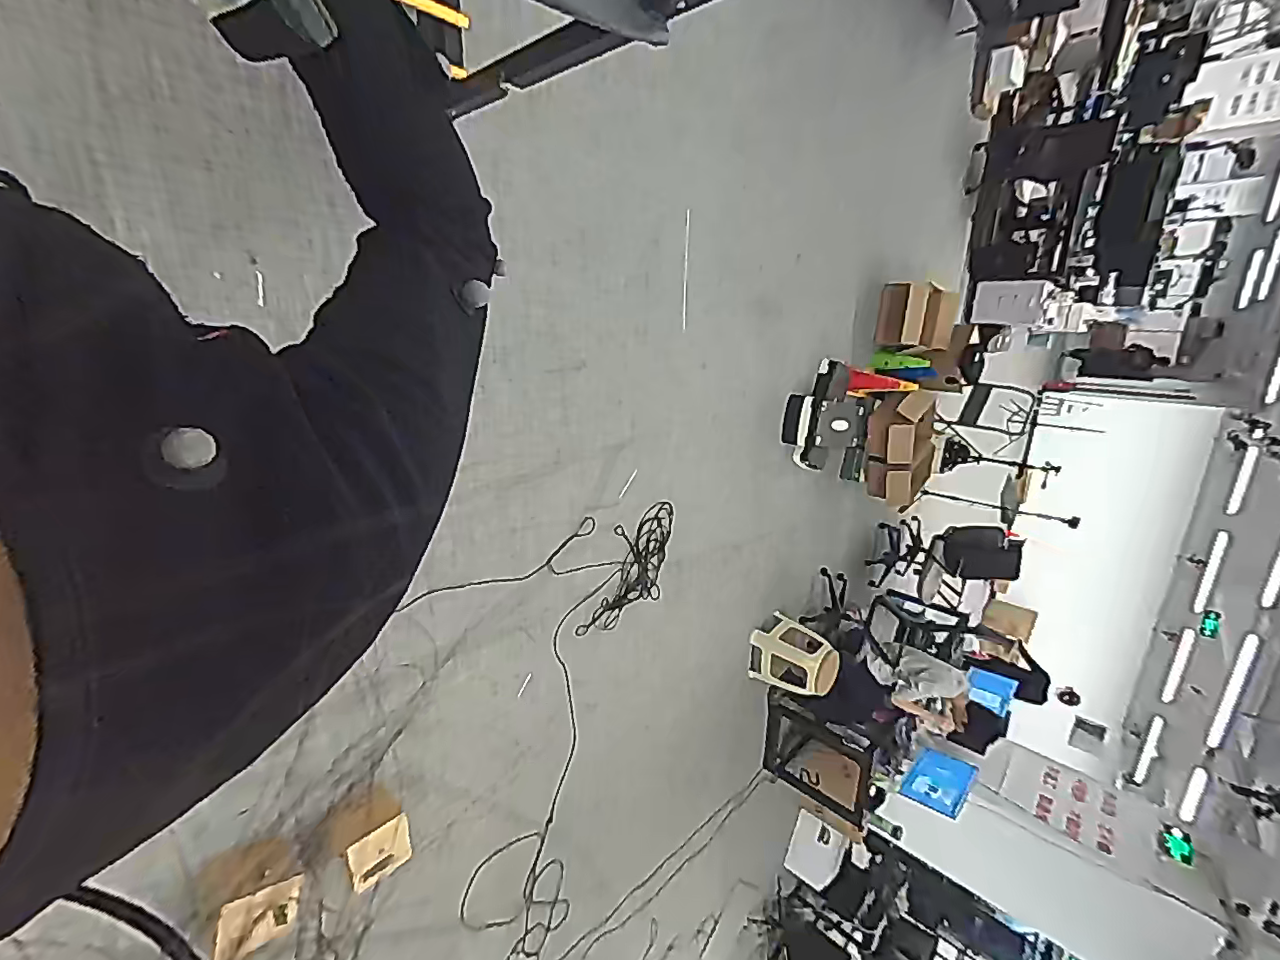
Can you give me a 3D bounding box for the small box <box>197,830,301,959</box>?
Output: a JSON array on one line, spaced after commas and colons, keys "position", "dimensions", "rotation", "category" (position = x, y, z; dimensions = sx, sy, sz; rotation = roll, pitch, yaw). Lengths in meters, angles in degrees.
[{"position": [-1.007, 1.053, 1.392], "dimensions": [0.179, 0.176, 0.168], "rotation": [6, 97, -48], "category": "small box"}]
